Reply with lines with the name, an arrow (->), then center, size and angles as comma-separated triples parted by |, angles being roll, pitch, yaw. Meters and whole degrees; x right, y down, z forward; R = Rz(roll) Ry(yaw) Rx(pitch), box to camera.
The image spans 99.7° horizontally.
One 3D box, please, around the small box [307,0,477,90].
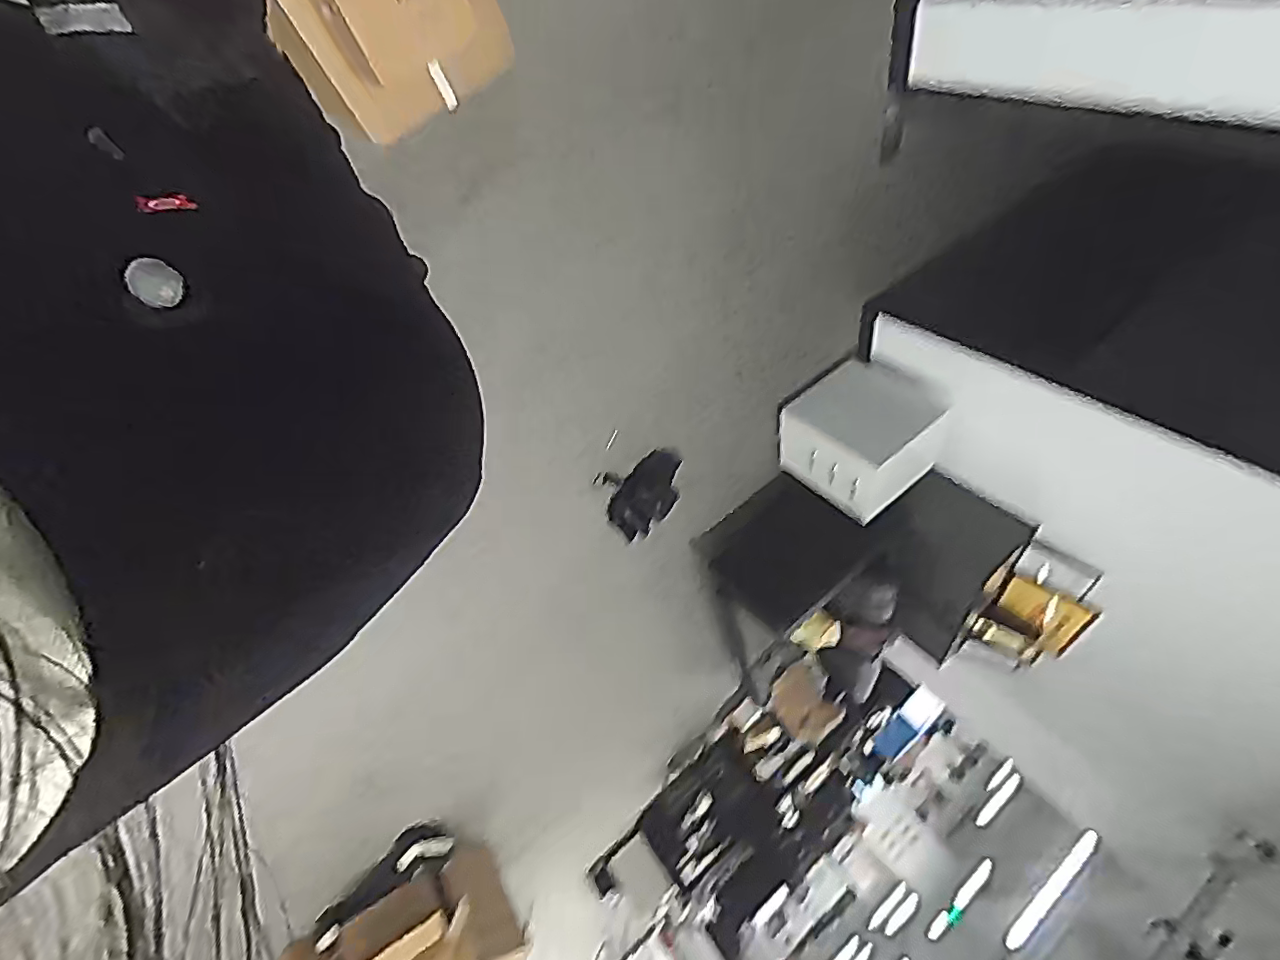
small box -> -0.365, -0.681, 0.747 | 0.168, 0.176, 0.179 | -38, 143, -11
